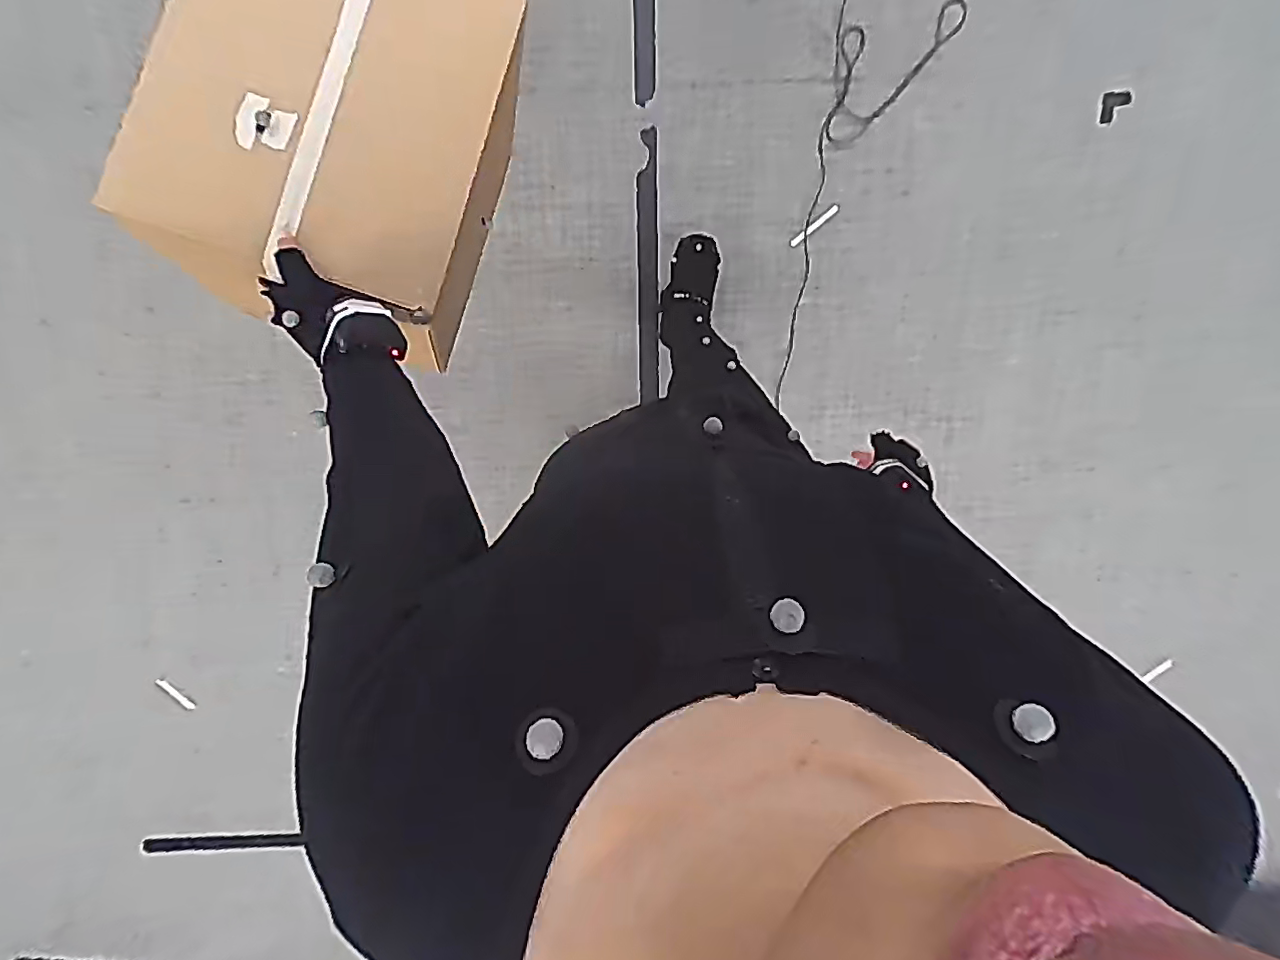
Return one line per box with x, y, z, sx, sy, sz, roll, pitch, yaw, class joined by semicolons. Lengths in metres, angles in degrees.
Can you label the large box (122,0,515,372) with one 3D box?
-0.378;-0.409;0.740;0.320;0.320;0.408;15;85;-15;large box
